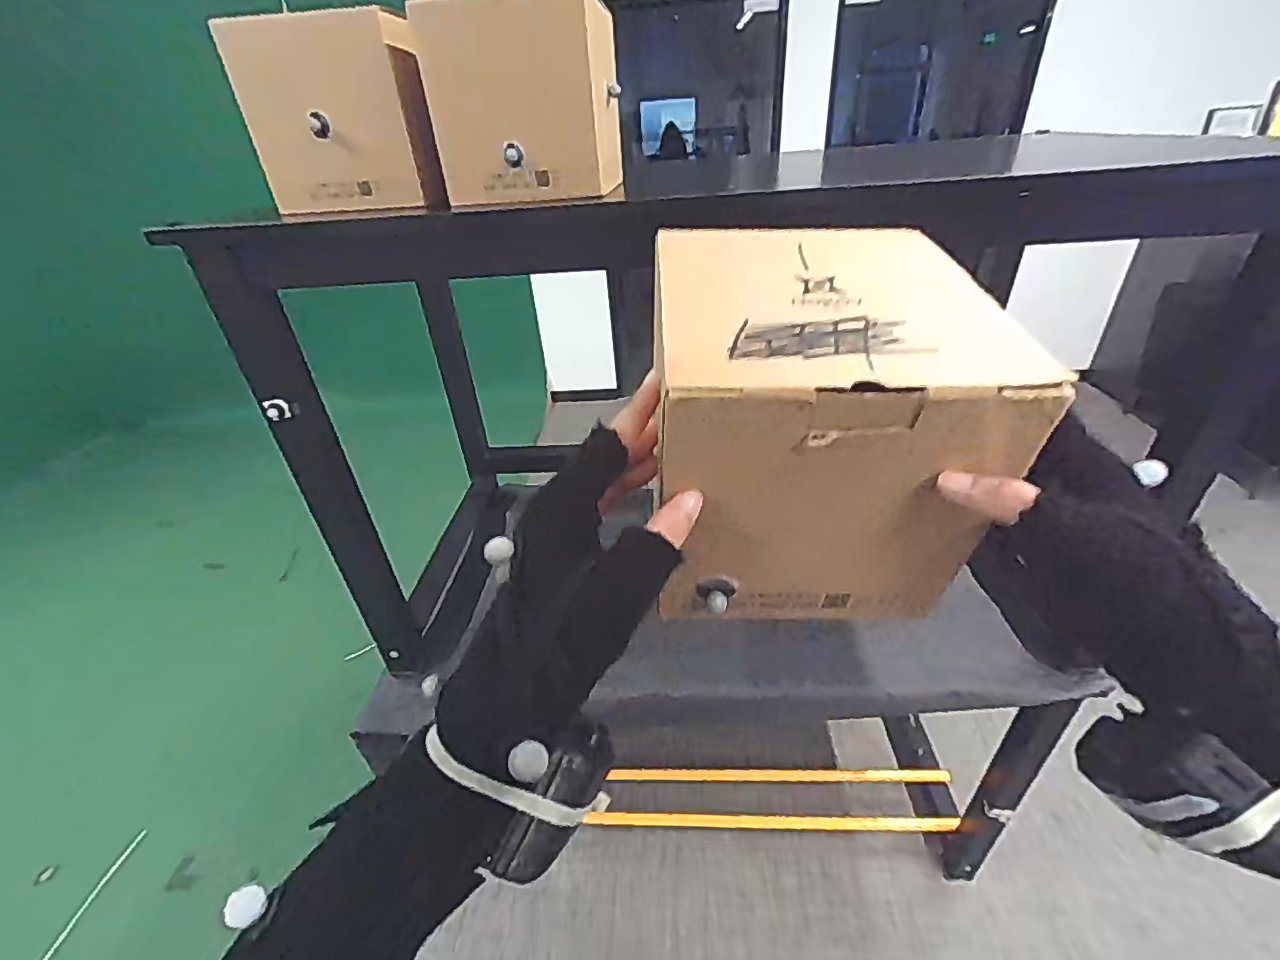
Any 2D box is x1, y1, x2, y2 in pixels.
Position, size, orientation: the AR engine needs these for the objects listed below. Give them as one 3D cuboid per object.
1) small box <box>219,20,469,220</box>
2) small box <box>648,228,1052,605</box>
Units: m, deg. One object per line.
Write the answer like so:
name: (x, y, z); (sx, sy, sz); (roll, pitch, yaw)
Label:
small box: (-0.313, -0.400, 0.622); (0.168, 0.176, 0.179); (-1, 32, 4)
small box: (0.090, -0.038, 0.334); (0.168, 0.176, 0.179); (0, 43, 1)
